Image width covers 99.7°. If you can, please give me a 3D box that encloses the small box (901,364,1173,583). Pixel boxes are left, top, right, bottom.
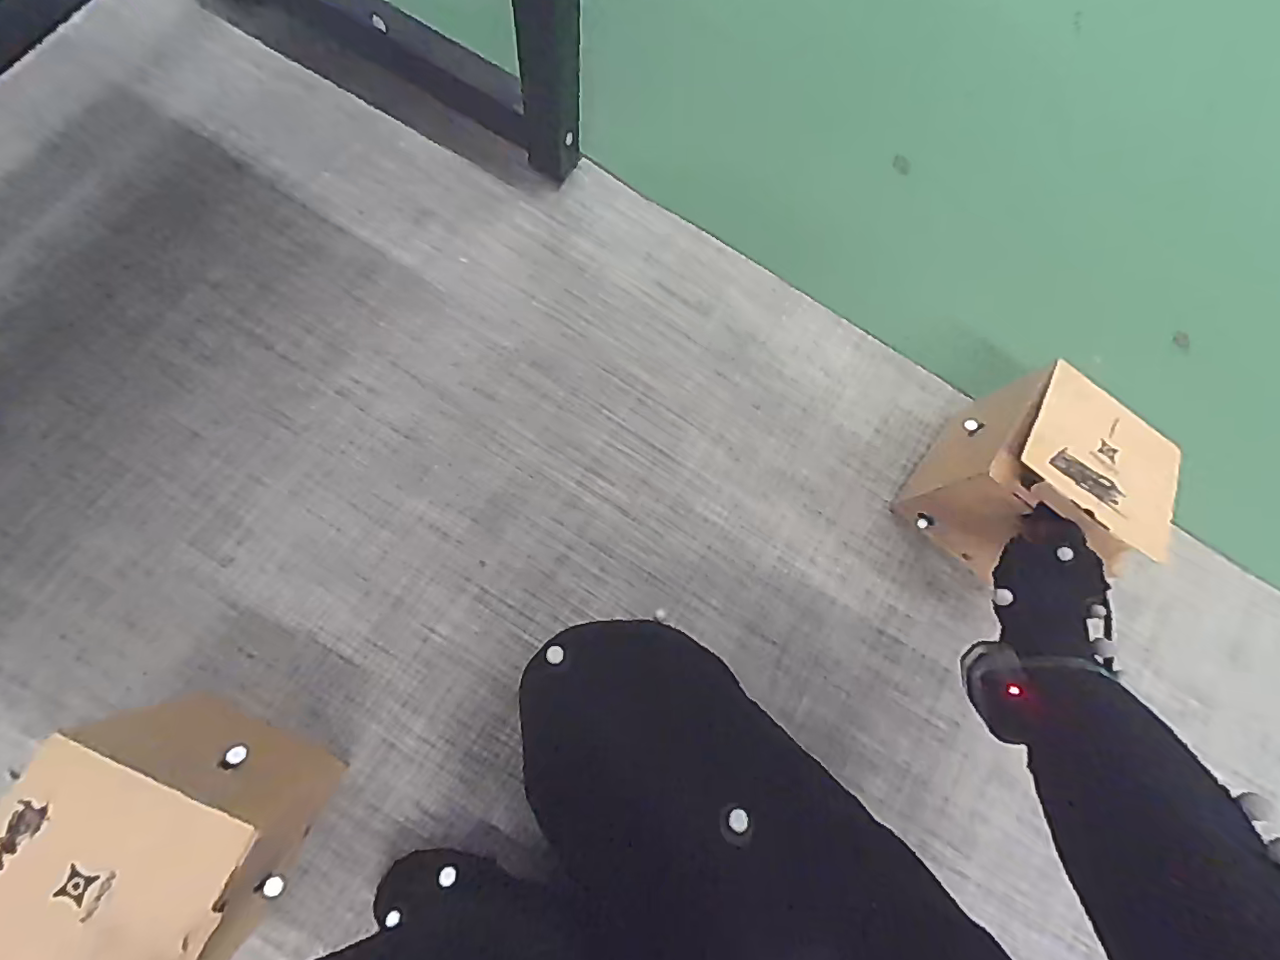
[{"bbox_3d":[0.446,0.005,0.637,0.168,0.176,0.179,39,73,3],"label":"small box"}]
